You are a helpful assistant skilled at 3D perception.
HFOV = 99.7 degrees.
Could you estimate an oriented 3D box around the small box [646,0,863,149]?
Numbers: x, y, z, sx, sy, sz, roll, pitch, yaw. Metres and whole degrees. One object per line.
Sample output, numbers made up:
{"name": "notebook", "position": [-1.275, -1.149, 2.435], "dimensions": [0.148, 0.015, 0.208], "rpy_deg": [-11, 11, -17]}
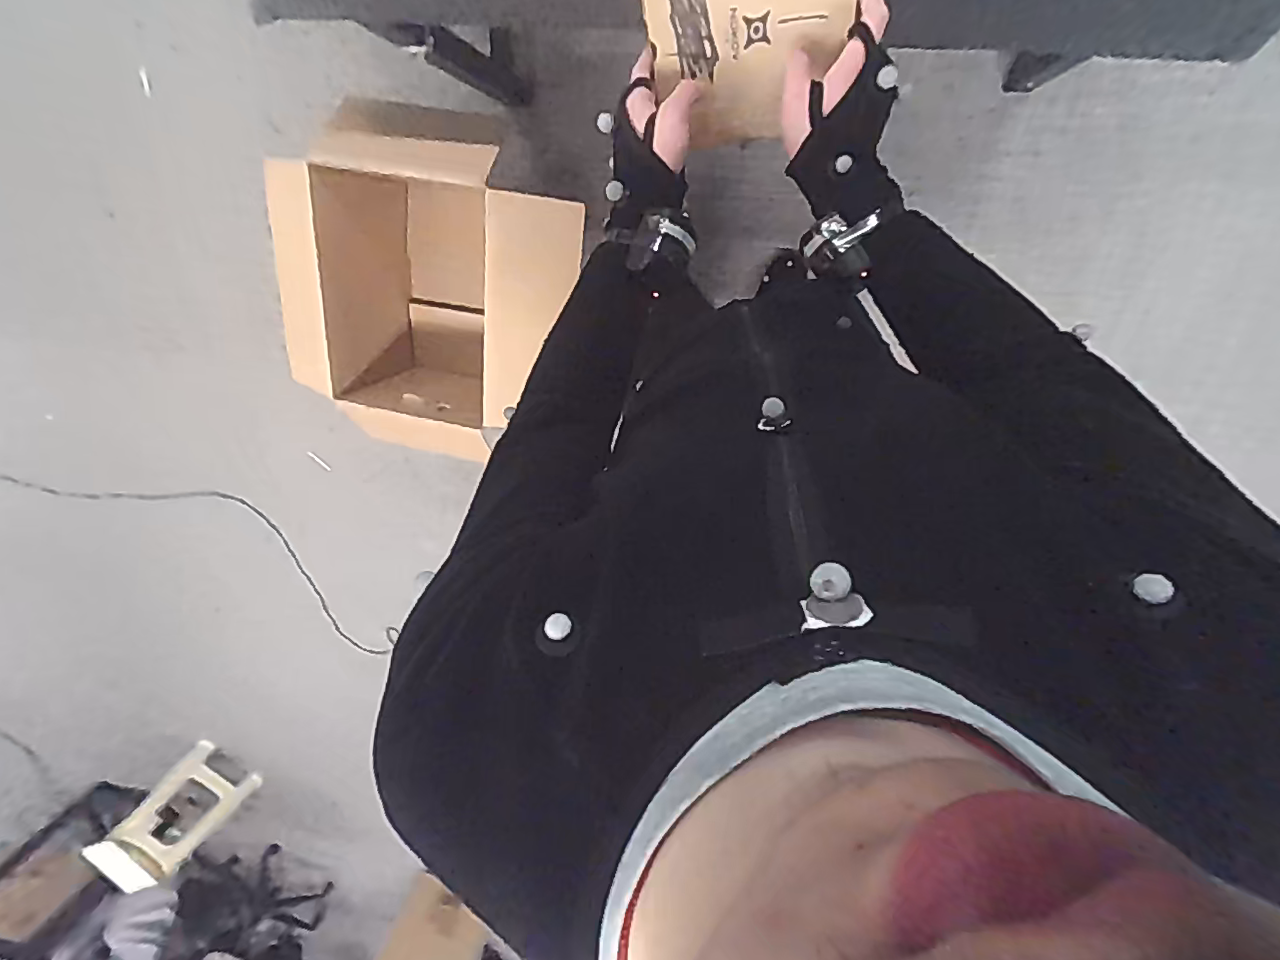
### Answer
{"name": "small box", "position": [0.114, -0.432, 0.508], "dimensions": [0.179, 0.176, 0.168], "rpy_deg": [2, 133, 17]}
